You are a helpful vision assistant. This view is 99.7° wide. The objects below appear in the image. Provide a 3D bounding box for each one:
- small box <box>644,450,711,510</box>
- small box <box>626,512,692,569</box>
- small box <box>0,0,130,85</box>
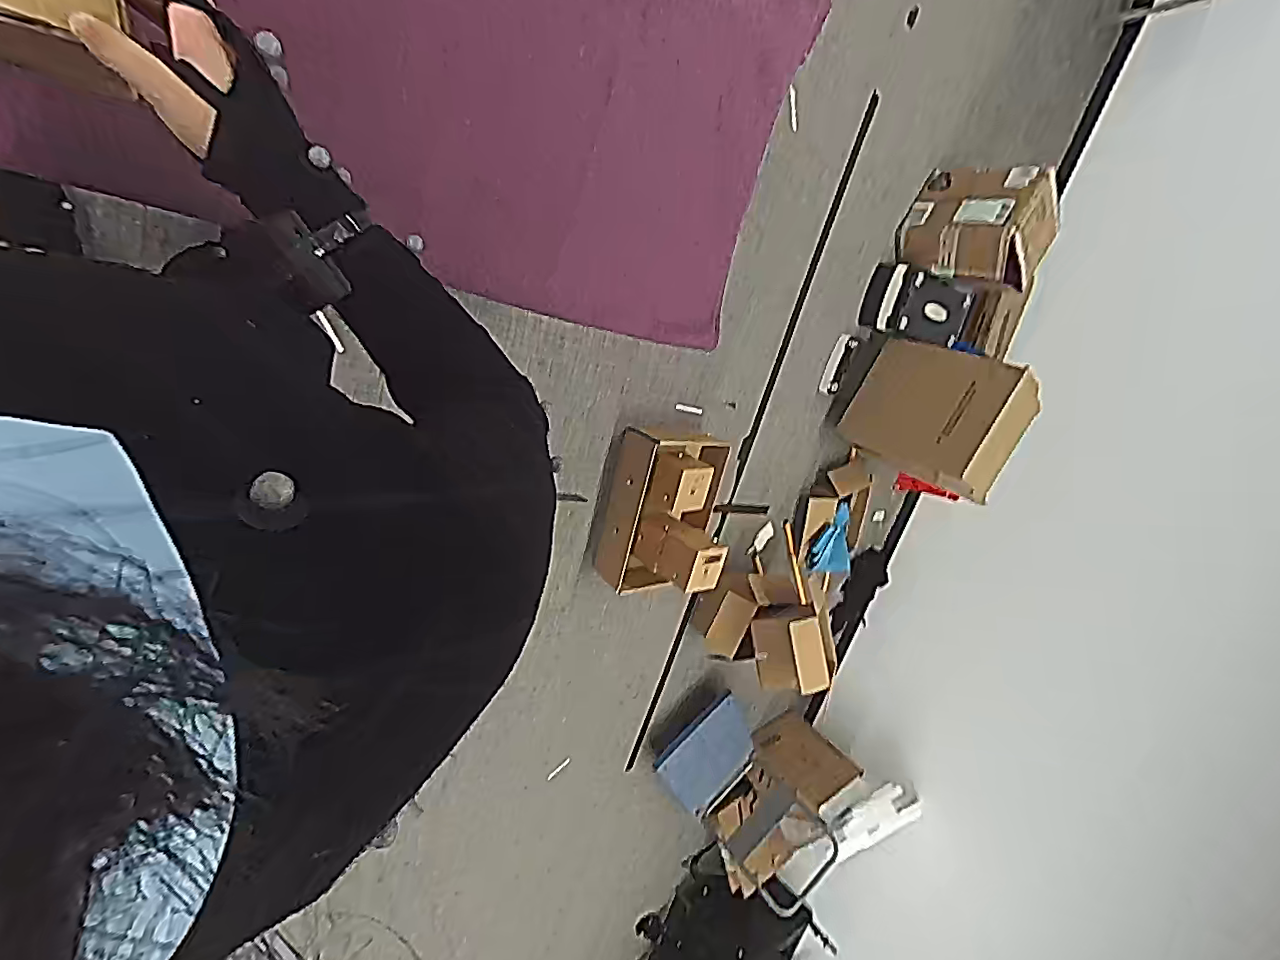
[{"bbox_3d":[0.136,-0.004,2.060,0.168,0.176,0.179,-4,117,-40],"label":"small box"},{"bbox_3d":[0.072,0.233,2.144,0.179,0.176,0.168,-2,113,-40],"label":"small box"},{"bbox_3d":[-0.408,-0.359,0.303,0.168,0.176,0.179,-7,112,-41],"label":"small box"}]
